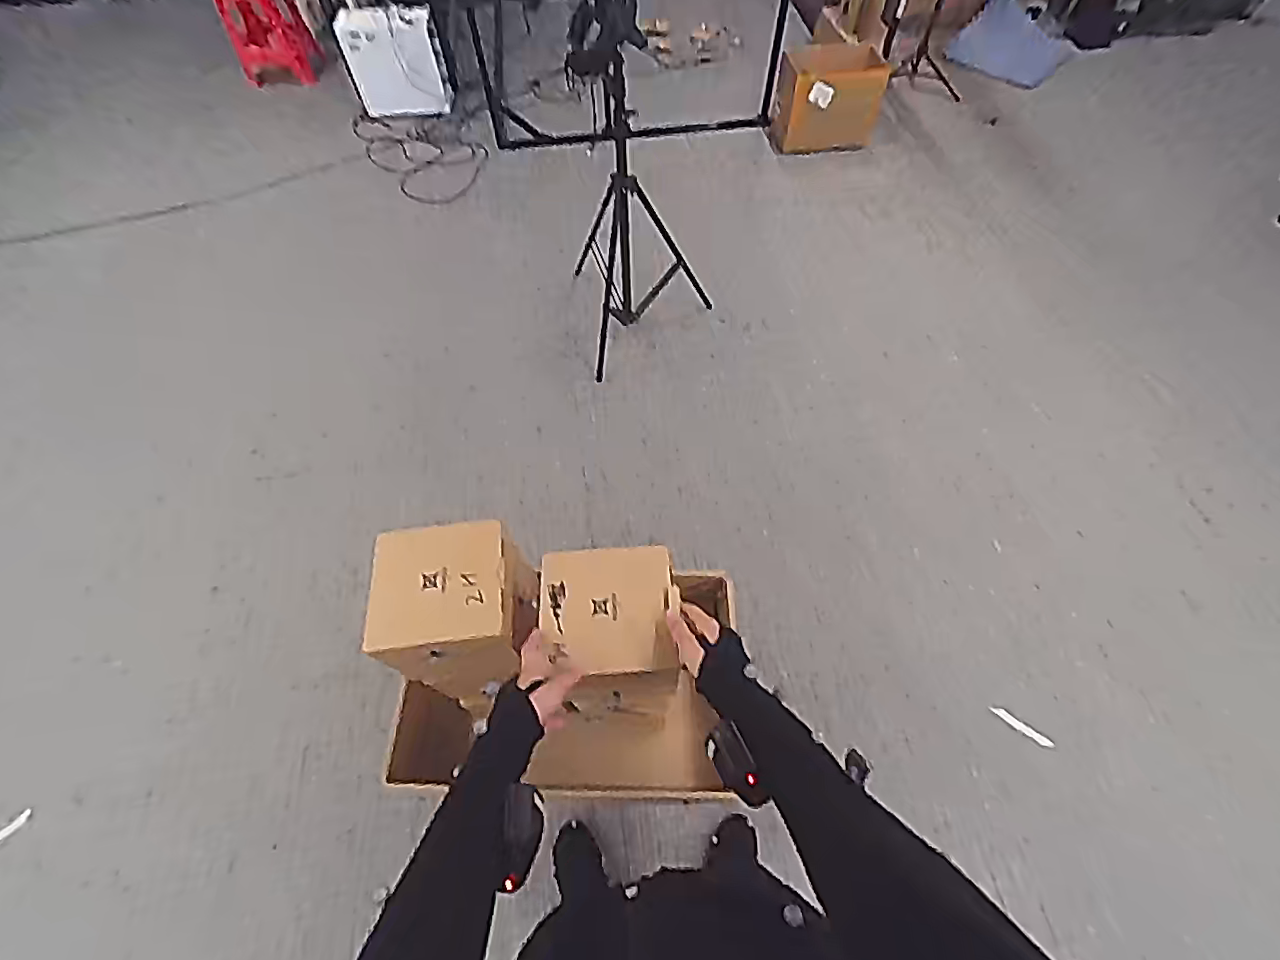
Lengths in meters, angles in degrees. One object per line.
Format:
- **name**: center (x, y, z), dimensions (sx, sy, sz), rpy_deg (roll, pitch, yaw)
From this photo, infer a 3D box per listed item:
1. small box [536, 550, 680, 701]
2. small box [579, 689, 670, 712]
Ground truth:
- **small box**: center (-0.041, 0.208, 0.757), dimensions (0.179, 0.176, 0.168), rpy_deg (-3, 58, 0)
- **small box**: center (-0.029, 0.281, 0.904), dimensions (0.168, 0.176, 0.179), rpy_deg (3, 59, 4)
